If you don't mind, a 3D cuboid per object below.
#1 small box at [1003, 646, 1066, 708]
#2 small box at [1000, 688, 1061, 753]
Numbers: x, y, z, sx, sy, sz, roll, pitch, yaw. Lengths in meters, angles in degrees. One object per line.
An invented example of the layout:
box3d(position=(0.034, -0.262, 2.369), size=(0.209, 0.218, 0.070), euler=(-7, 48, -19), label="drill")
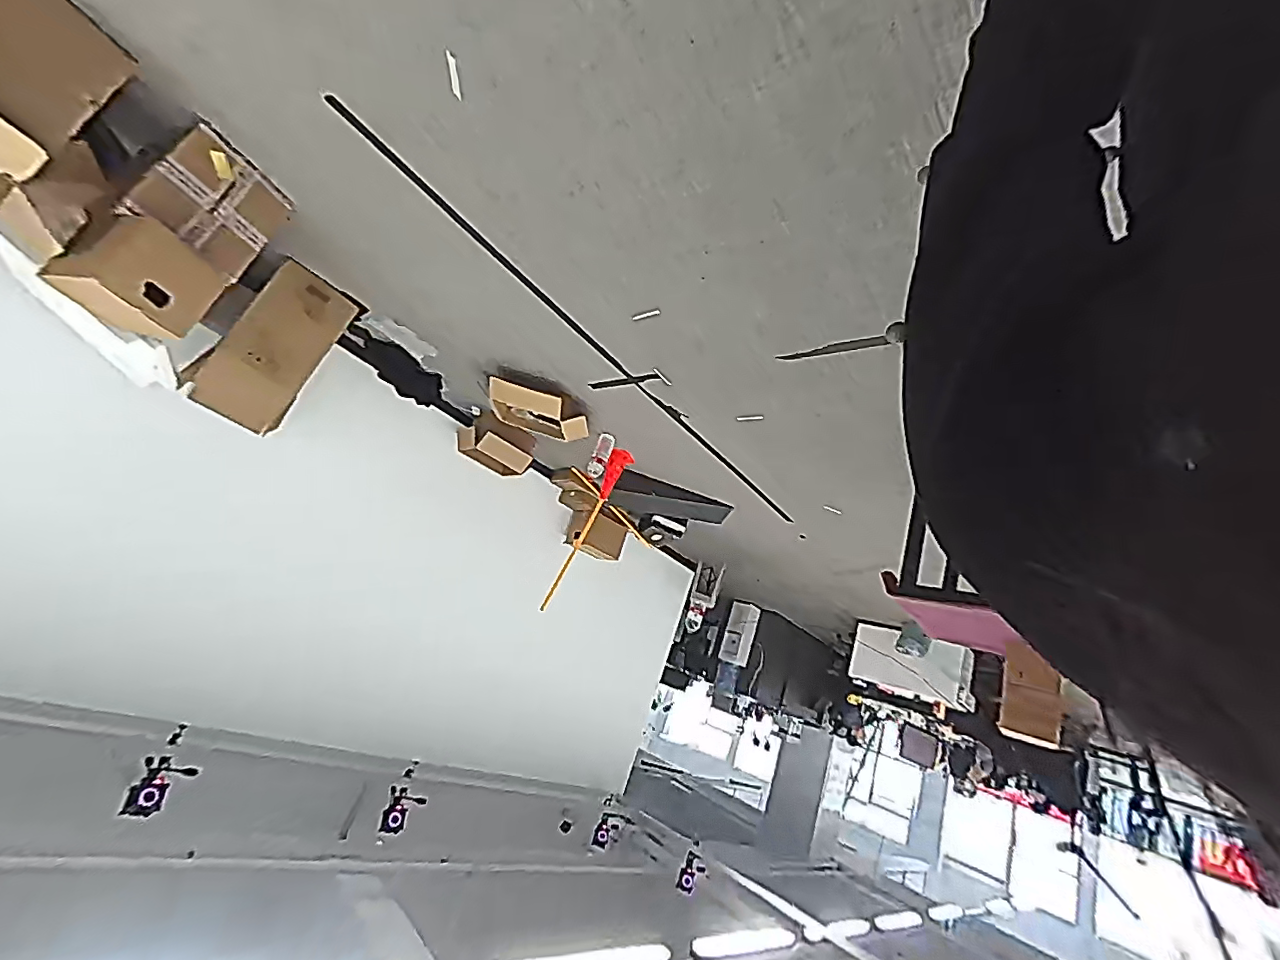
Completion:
box3d(position=(1.517, 0.750, 2.076), size=(0.179, 0.176, 0.168), euler=(3, 153, 42), label="small box")
box3d(position=(1.462, 0.895, 2.022), size=(0.179, 0.176, 0.168), euler=(3, 153, 40), label="small box")
